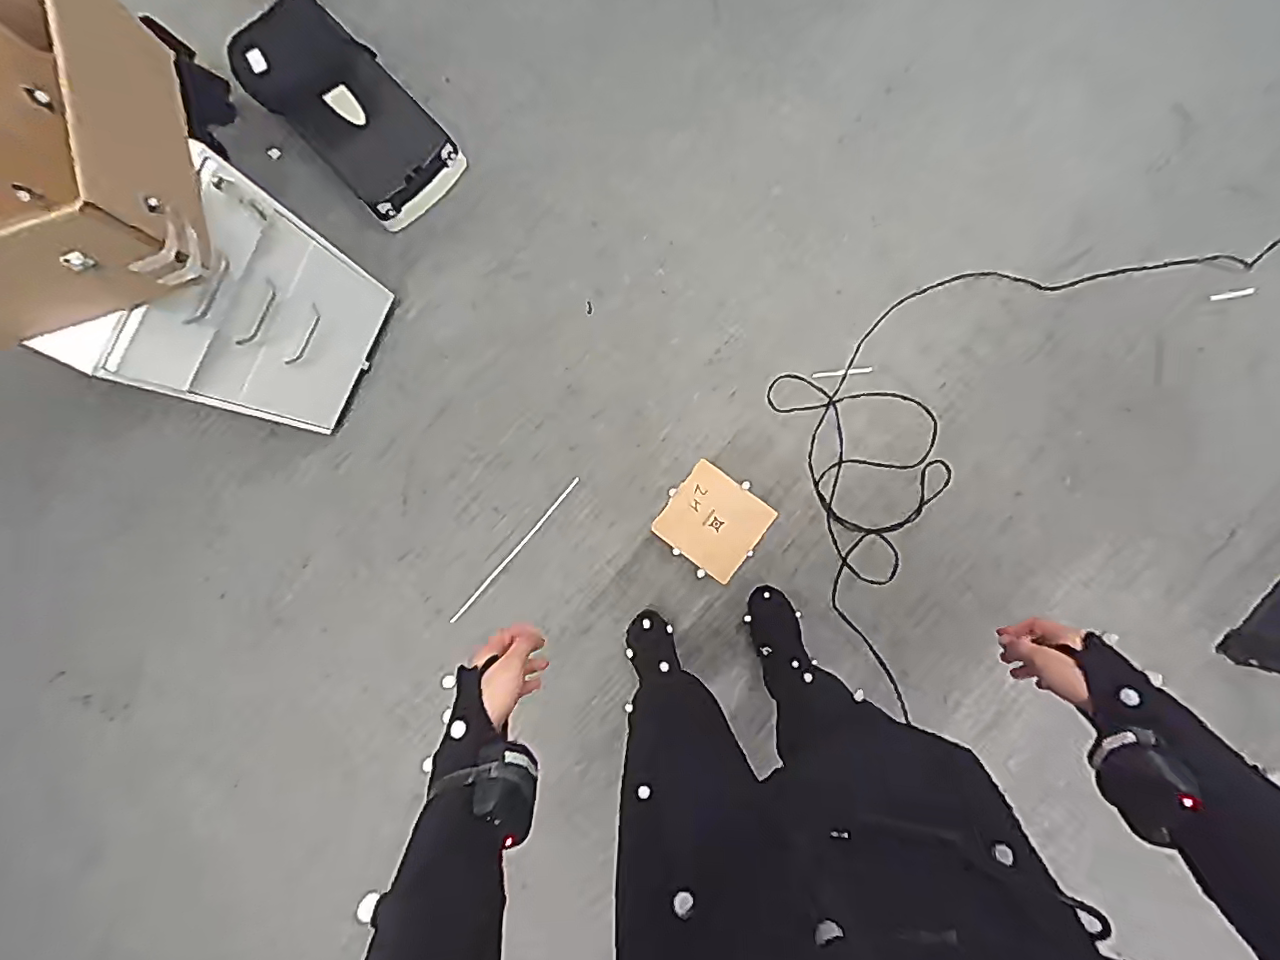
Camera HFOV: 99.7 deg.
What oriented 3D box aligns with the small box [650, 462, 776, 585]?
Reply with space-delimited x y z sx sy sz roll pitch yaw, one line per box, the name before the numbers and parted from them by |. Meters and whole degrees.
small box | 0.142 0.083 1.072 0.179 0.176 0.168 37 89 8
